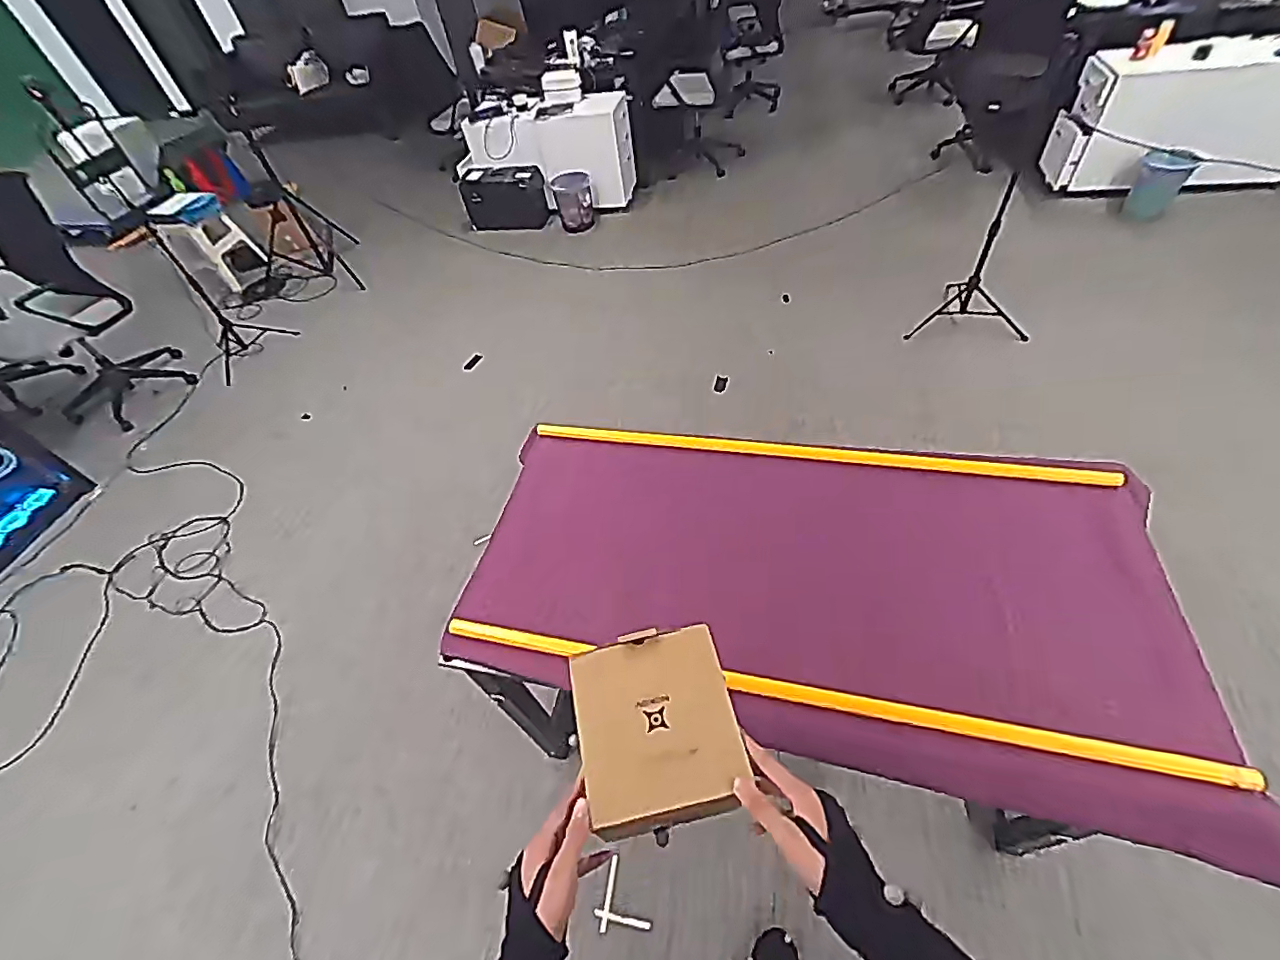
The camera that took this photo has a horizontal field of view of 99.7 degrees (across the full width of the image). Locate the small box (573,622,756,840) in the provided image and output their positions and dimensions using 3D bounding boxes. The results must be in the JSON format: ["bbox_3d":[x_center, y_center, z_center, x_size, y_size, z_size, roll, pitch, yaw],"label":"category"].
[{"bbox_3d":[0.020,0.293,0.630,0.168,0.176,0.179,-11,52,-5],"label":"small box"}]
